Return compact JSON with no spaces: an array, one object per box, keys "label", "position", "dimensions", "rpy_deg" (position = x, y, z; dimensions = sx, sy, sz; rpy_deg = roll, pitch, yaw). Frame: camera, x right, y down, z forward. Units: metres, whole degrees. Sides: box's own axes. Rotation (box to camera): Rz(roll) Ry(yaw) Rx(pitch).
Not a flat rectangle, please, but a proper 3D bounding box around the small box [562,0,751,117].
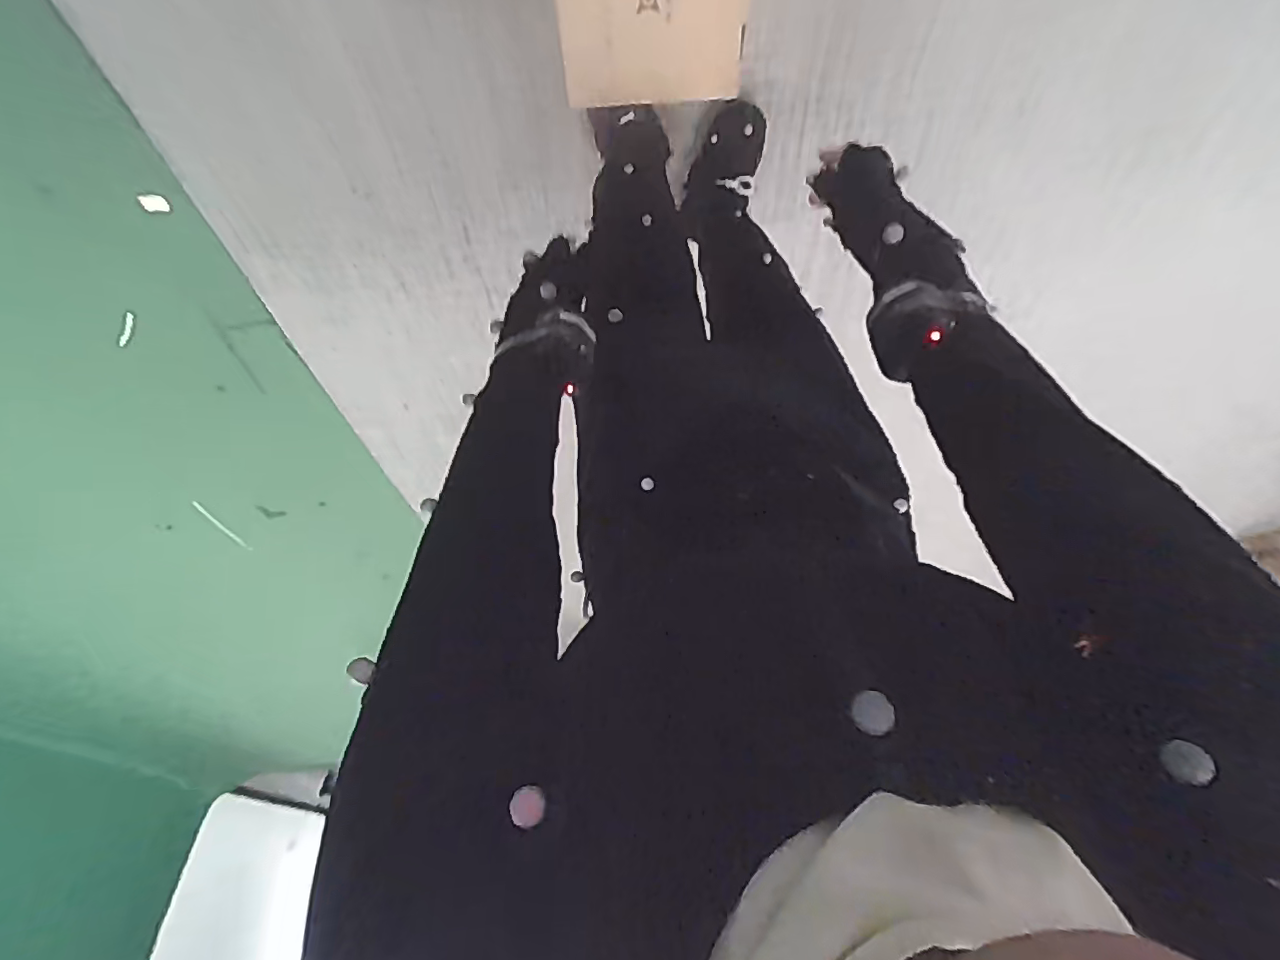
[{"label":"small box","position":[0.013,-0.495,0.548],"dimensions":[0.179,0.176,0.168],"rpy_deg":[-3,140,2]}]
